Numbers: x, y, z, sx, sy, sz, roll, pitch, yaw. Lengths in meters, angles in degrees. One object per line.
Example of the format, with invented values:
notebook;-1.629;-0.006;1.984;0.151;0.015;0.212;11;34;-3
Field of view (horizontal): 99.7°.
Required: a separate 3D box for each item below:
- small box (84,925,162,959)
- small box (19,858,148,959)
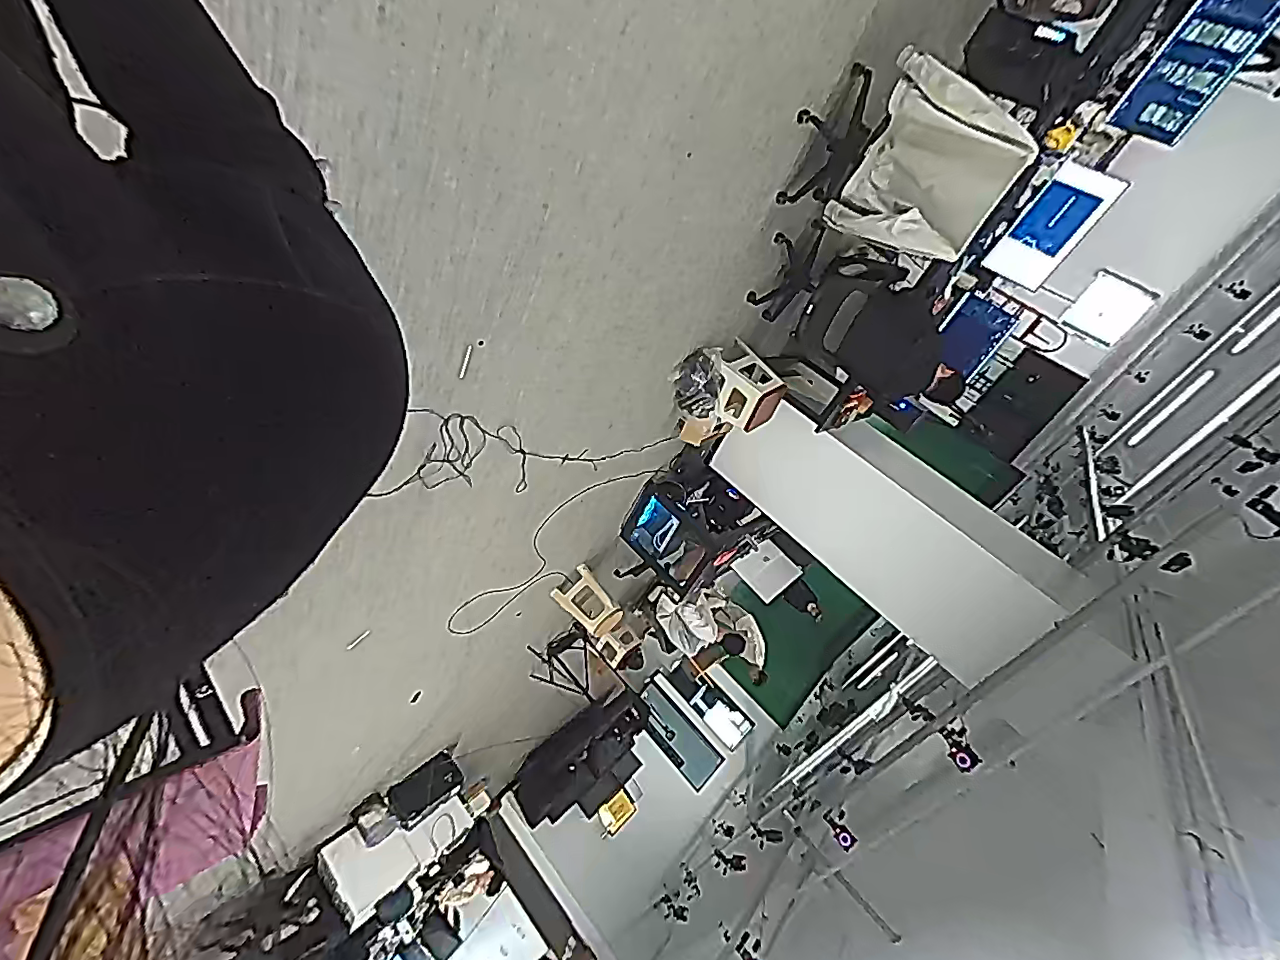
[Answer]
small box;-1.105;1.088;1.129;0.168;0.176;0.179;-18;145;-51
small box;-1.215;0.981;1.187;0.168;0.176;0.179;-17;144;-51
